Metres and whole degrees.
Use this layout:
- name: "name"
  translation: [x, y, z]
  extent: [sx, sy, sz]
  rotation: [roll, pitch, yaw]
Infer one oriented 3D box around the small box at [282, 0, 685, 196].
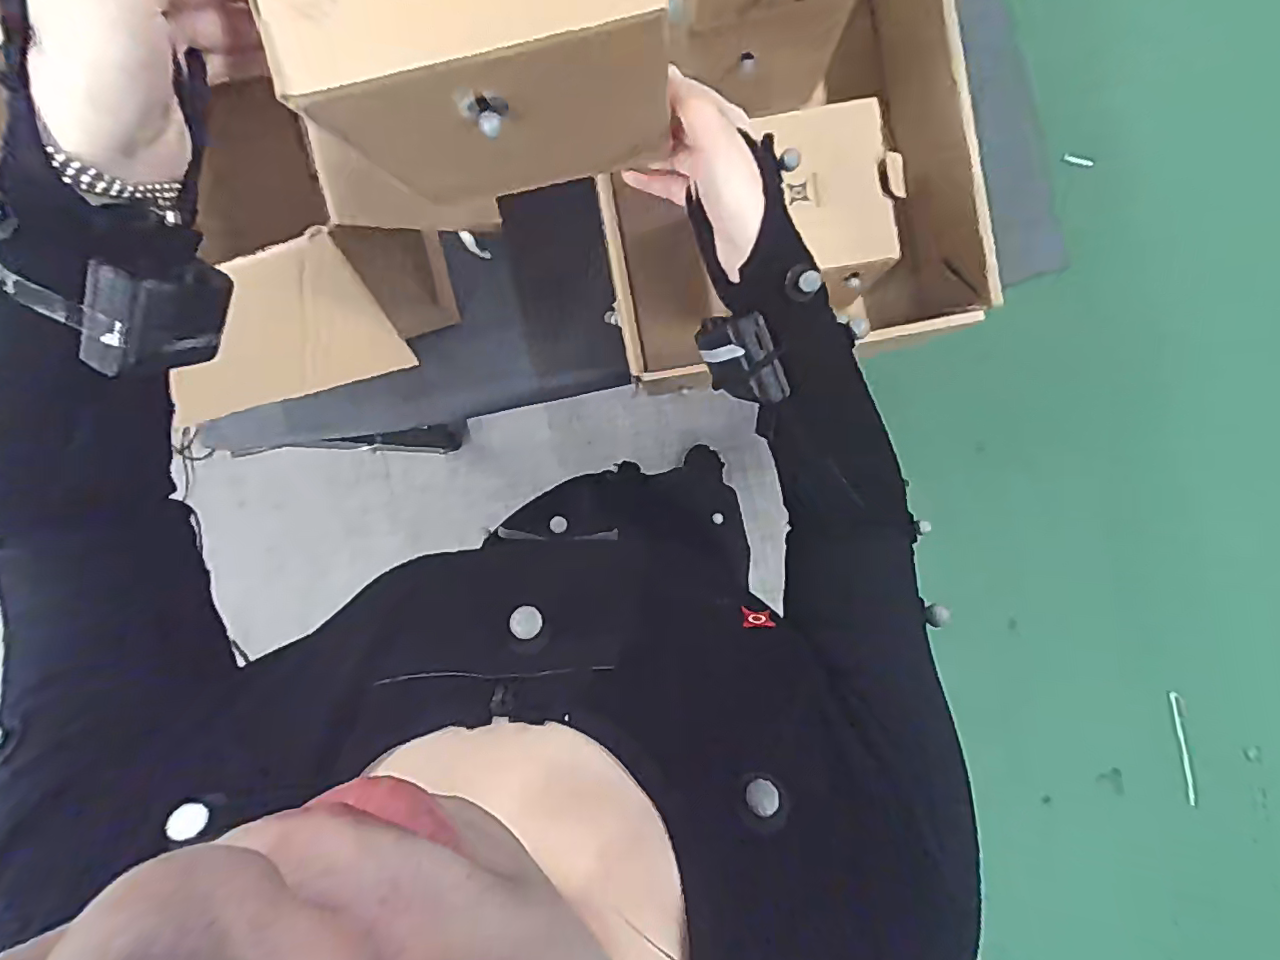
- name: "small box"
  translation: [-0.071, -0.276, 0.294]
  extent: [0.179, 0.176, 0.168]
  rotation: [-9, 102, 5]
